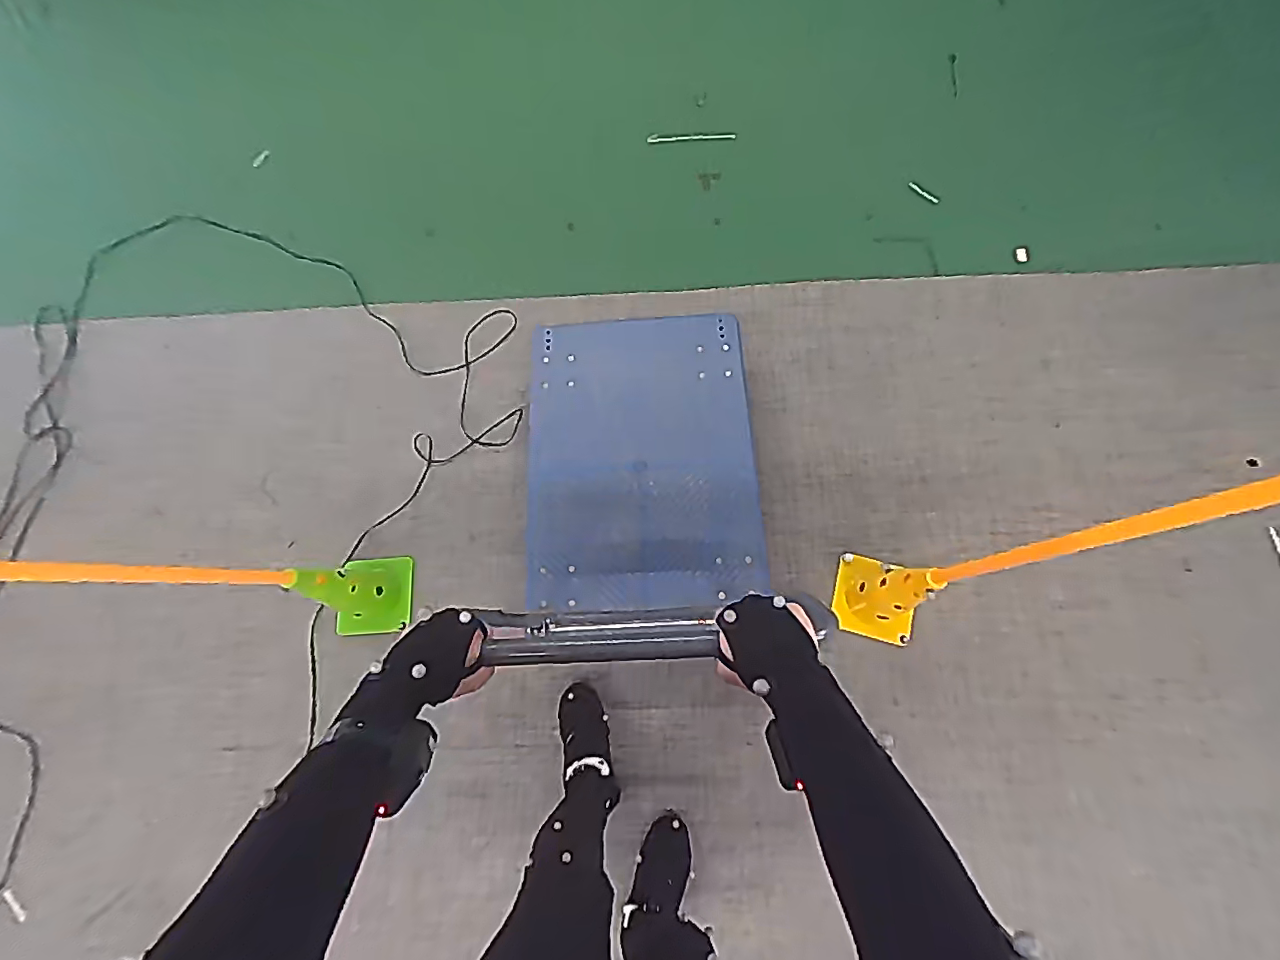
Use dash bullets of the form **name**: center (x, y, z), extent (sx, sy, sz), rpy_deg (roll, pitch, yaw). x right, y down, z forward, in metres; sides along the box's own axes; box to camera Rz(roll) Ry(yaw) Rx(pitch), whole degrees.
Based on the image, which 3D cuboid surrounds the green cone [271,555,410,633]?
- **green cone**: center (-0.742, 0.255, 1.313), extent (0.202, 0.368, 0.200), rpy_deg (-6, 71, 4)
